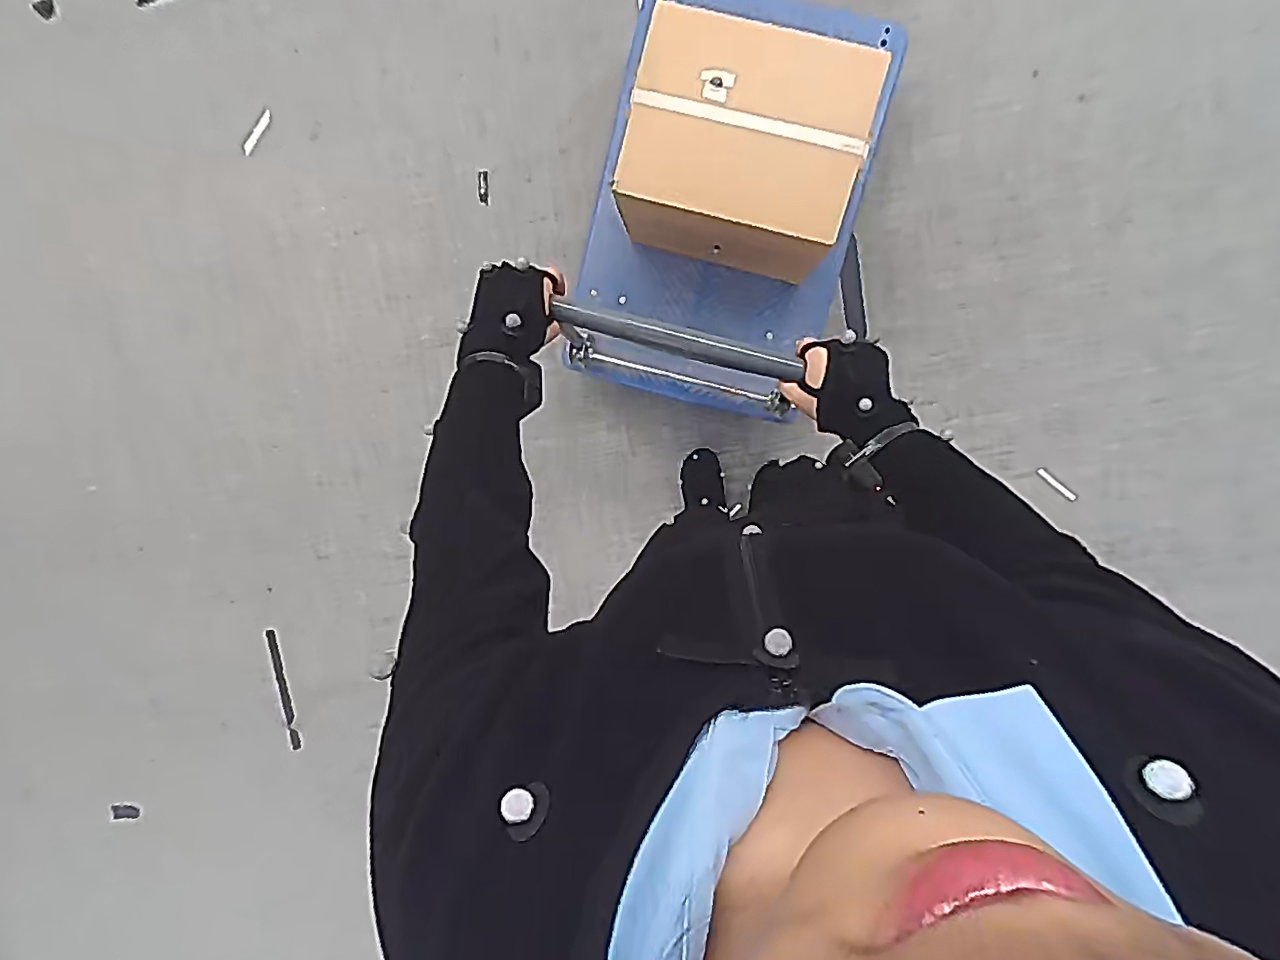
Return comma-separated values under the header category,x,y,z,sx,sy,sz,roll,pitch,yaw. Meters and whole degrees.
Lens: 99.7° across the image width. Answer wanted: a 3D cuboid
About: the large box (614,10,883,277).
category,x,y,z,sx,sy,sz,roll,pitch,yaw
large box,0.198,-0.632,1.080,0.408,0.320,0.320,16,98,5
